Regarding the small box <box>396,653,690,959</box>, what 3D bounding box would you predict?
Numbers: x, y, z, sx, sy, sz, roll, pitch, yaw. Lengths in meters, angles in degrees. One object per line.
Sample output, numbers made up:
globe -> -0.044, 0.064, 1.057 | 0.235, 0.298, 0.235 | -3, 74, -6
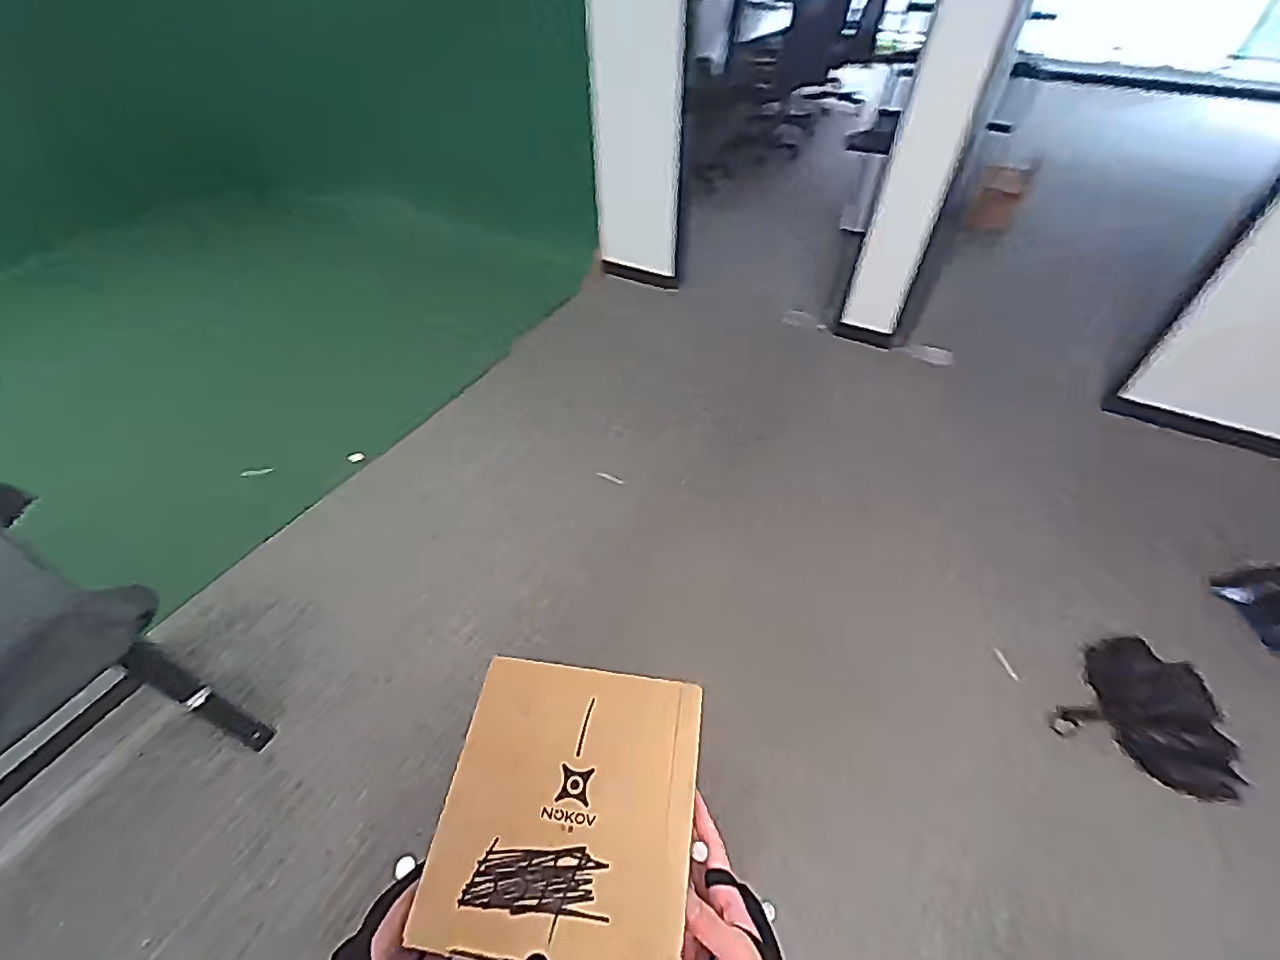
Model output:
small box -> -0.052, 0.261, 0.426 | 0.168, 0.176, 0.179 | 6, 52, 6
